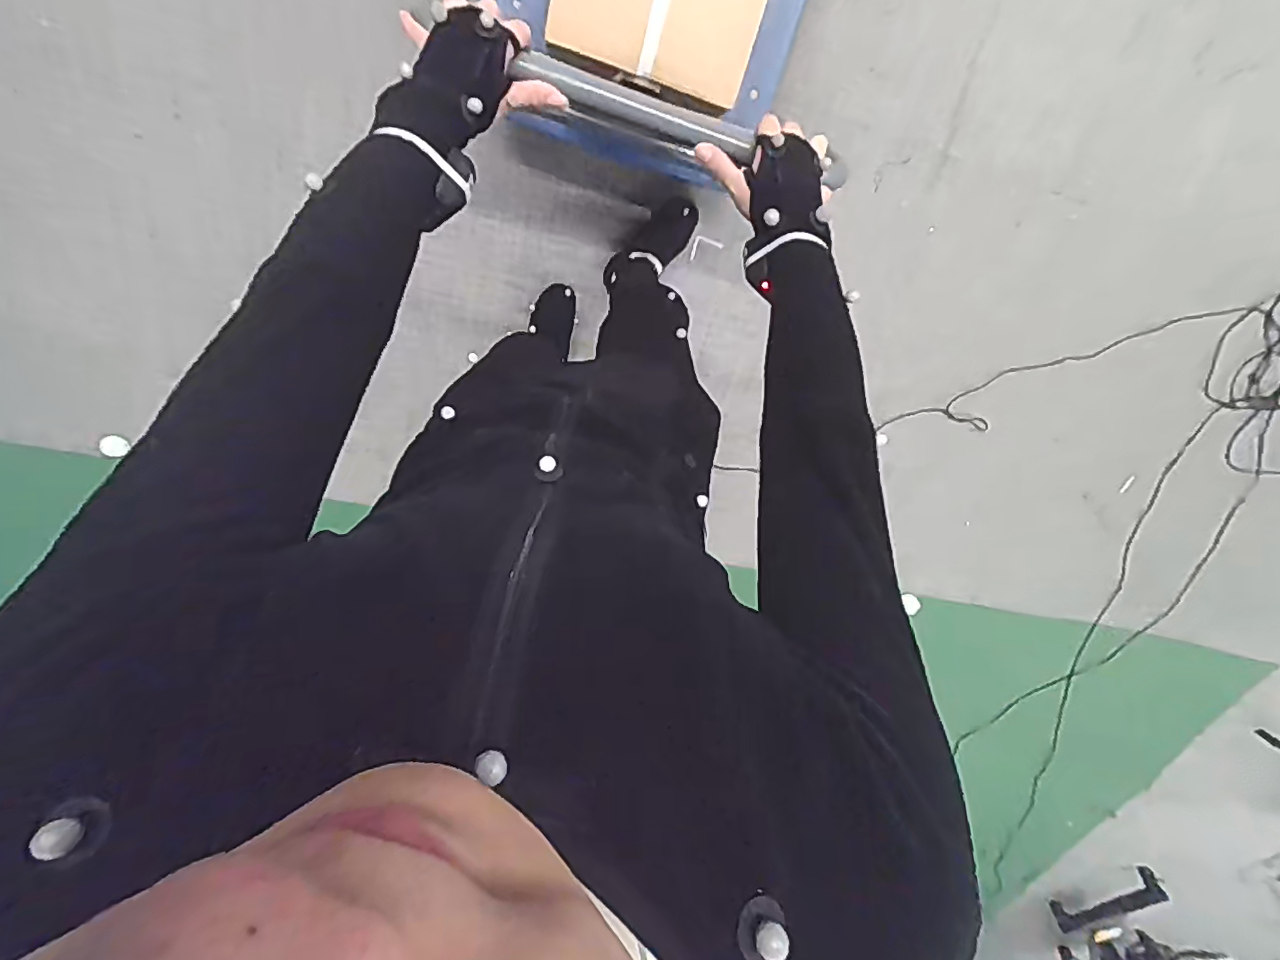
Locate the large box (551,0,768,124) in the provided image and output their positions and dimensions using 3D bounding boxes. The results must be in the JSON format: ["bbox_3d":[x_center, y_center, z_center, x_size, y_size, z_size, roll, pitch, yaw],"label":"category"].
[{"bbox_3d":[0.053,-0.875,0.891,0.320,0.320,0.408,13,116,-11],"label":"large box"}]
